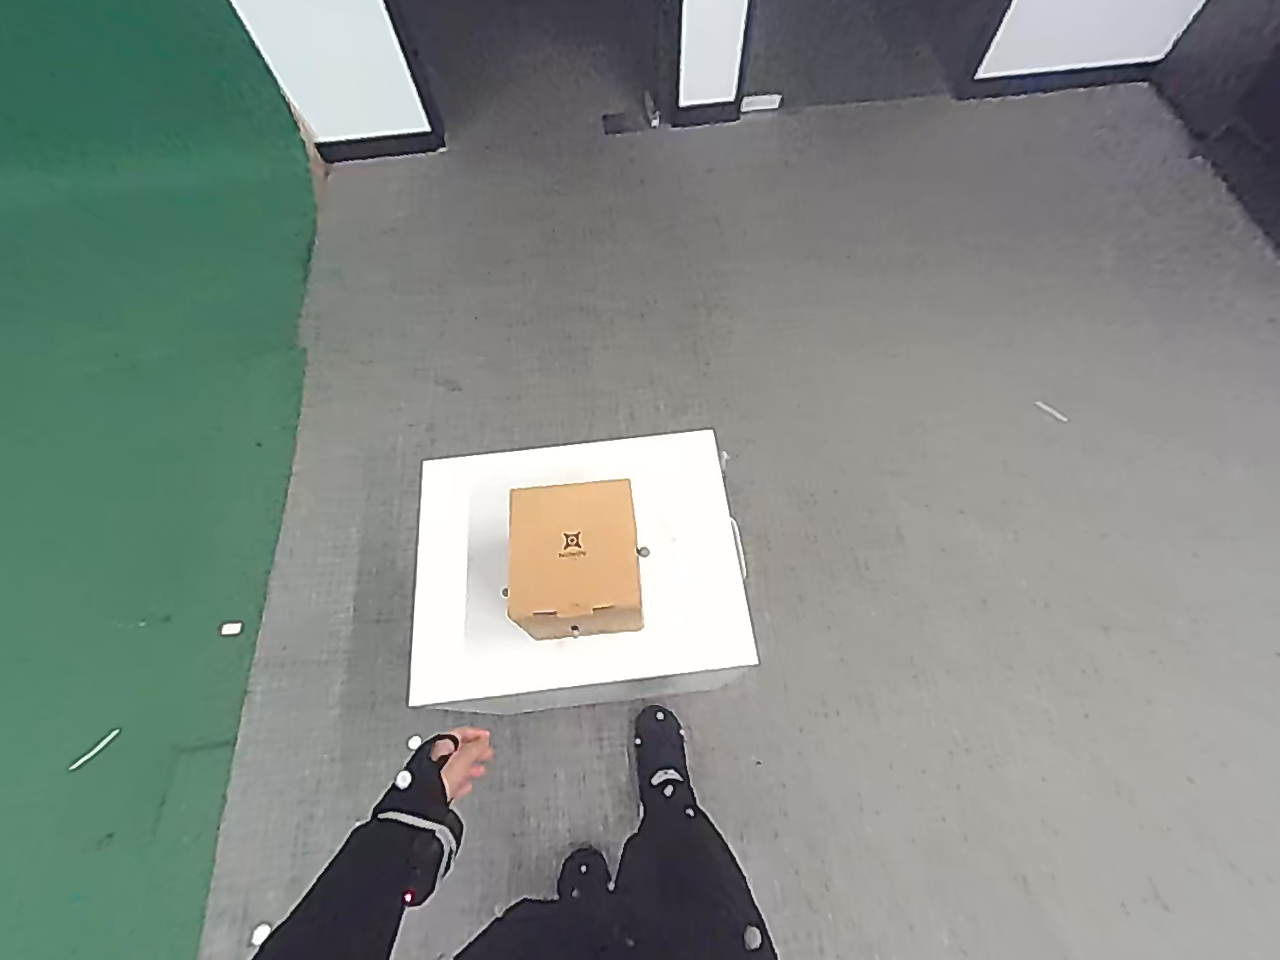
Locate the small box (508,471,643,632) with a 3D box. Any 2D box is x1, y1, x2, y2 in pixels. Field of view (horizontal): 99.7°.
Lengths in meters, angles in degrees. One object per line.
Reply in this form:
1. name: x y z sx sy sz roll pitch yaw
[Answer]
1. small box: -0.084 0.106 0.763 0.168 0.176 0.179 -5 65 -1
